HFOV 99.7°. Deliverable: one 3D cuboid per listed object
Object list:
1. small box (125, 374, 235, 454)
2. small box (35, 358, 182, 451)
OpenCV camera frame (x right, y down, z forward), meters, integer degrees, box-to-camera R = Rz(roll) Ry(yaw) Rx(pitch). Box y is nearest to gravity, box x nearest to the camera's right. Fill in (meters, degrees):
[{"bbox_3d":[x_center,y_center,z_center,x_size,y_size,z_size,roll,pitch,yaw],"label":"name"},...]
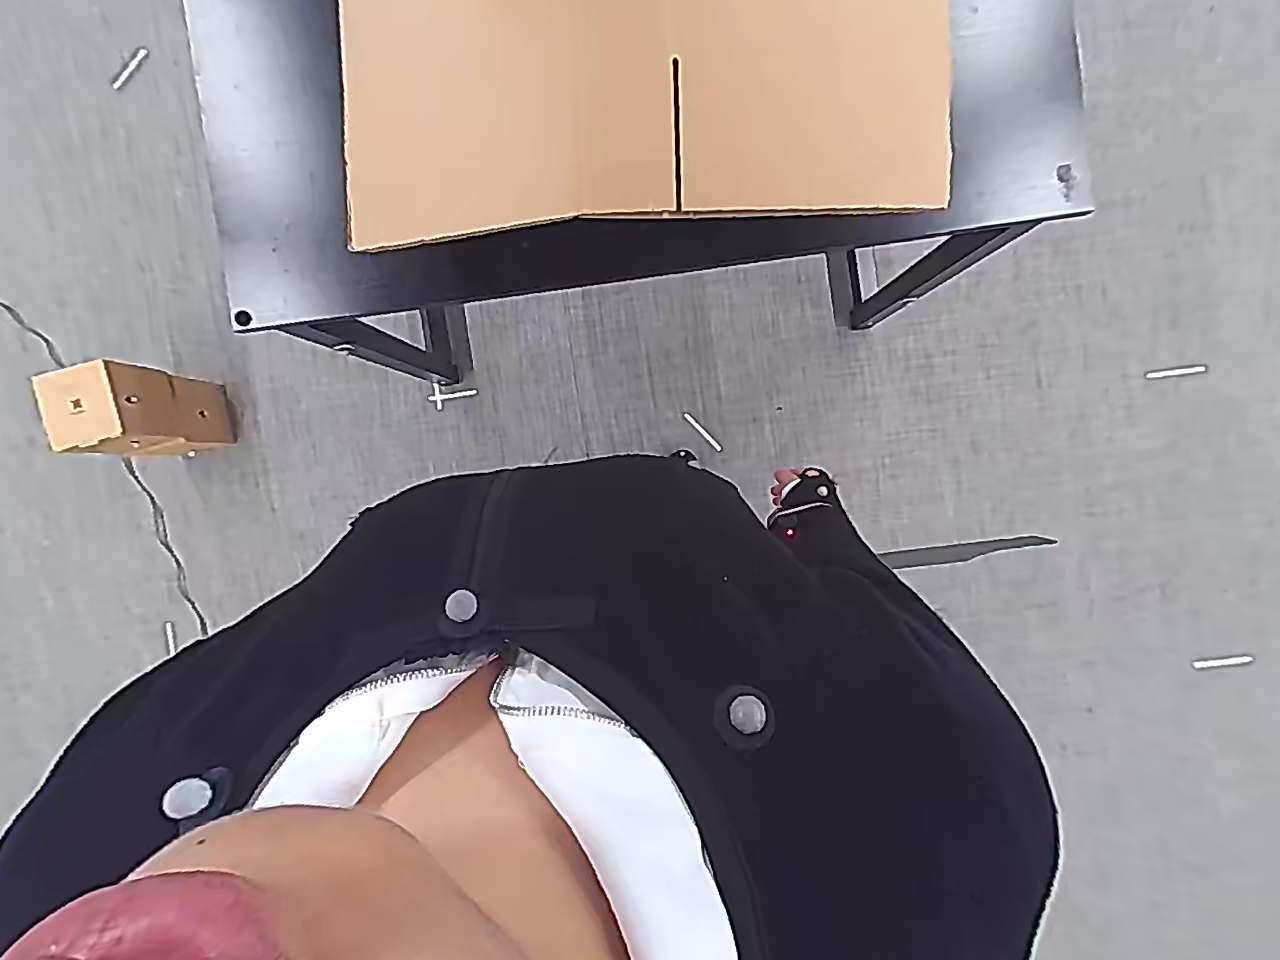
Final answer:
[{"bbox_3d":[-1.229,-0.169,1.435,0.168,0.176,0.179,-11,92,2],"label":"small box"},{"bbox_3d":[-1.235,-0.169,1.273,0.168,0.176,0.179,-14,90,1],"label":"small box"}]
